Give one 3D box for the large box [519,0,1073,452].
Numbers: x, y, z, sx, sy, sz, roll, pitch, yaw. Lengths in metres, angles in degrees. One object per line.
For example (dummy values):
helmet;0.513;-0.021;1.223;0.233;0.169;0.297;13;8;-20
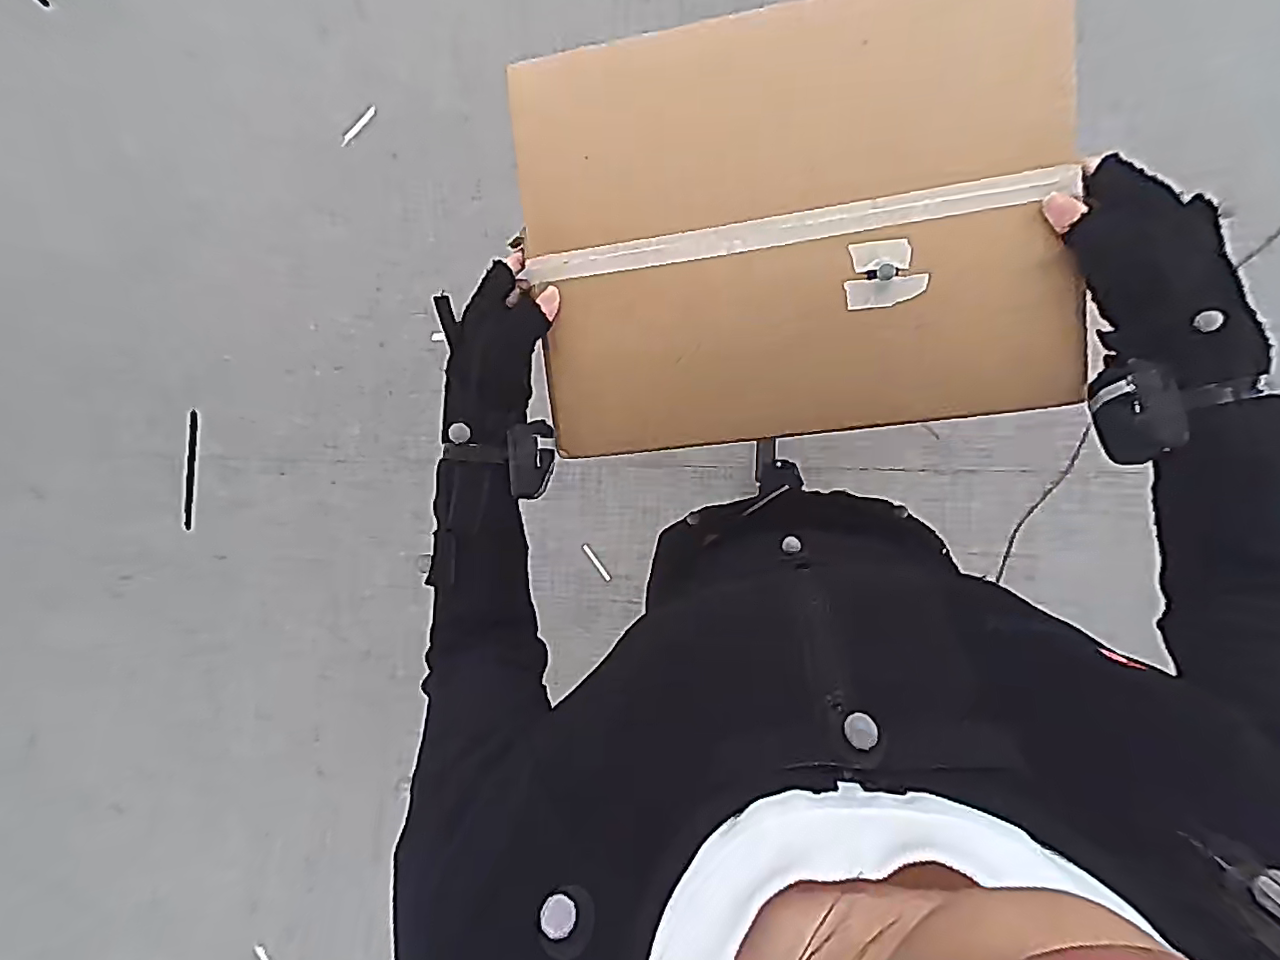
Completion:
large box;0.132;-0.216;0.570;0.408;0.320;0.320;-6;97;8
